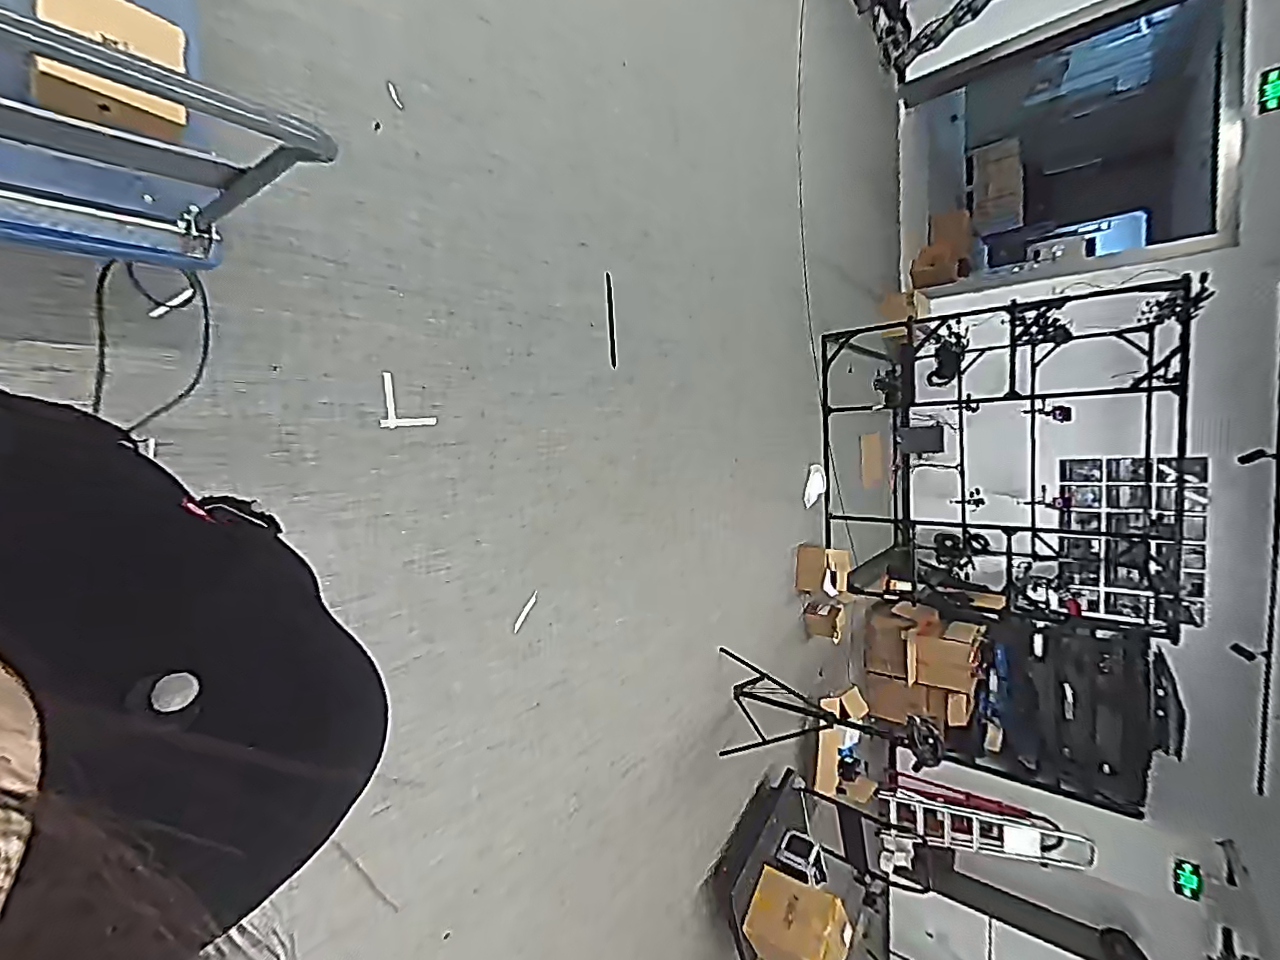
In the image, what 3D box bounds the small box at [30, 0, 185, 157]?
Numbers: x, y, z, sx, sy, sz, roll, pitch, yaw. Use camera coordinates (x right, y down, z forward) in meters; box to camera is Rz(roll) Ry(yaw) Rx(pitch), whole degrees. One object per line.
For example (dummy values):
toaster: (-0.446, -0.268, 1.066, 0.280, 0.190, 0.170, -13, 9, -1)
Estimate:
small box: (-0.904, -0.687, 0.918, 0.179, 0.176, 0.168, -1, 92, -51)
